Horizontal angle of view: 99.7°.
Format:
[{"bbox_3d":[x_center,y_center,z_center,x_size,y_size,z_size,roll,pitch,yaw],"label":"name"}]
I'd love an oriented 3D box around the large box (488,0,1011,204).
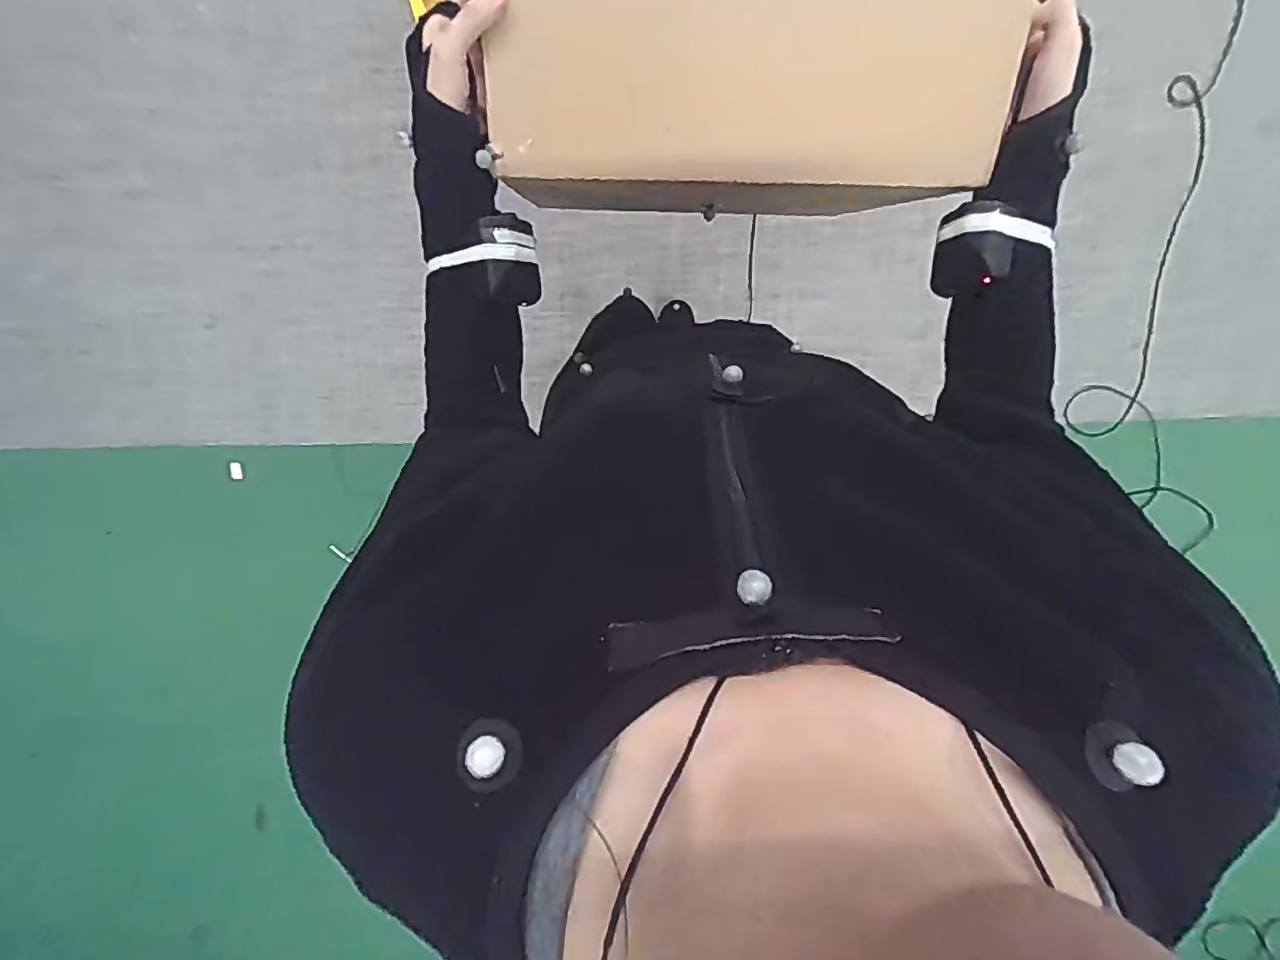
[{"bbox_3d":[0.080,-0.450,0.527,0.408,0.320,0.320,-1,112,-3],"label":"large box"}]
